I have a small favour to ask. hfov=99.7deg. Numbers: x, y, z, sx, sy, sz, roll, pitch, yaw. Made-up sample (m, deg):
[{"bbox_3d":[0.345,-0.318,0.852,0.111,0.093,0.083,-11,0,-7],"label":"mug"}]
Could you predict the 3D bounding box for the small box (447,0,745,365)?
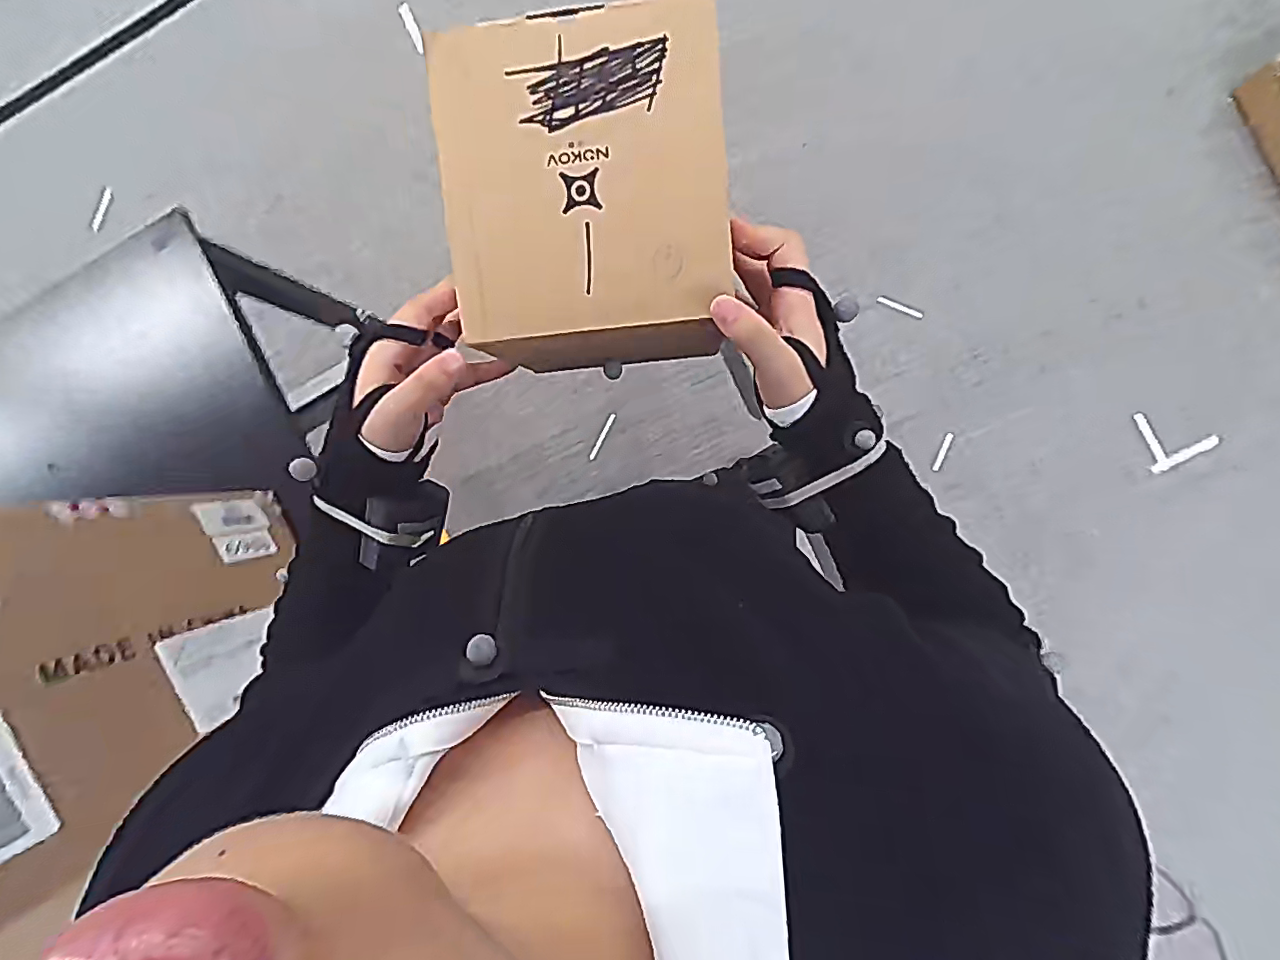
[{"bbox_3d":[-0.019,-0.186,0.390,0.168,0.176,0.179,-4,96,5],"label":"small box"}]
